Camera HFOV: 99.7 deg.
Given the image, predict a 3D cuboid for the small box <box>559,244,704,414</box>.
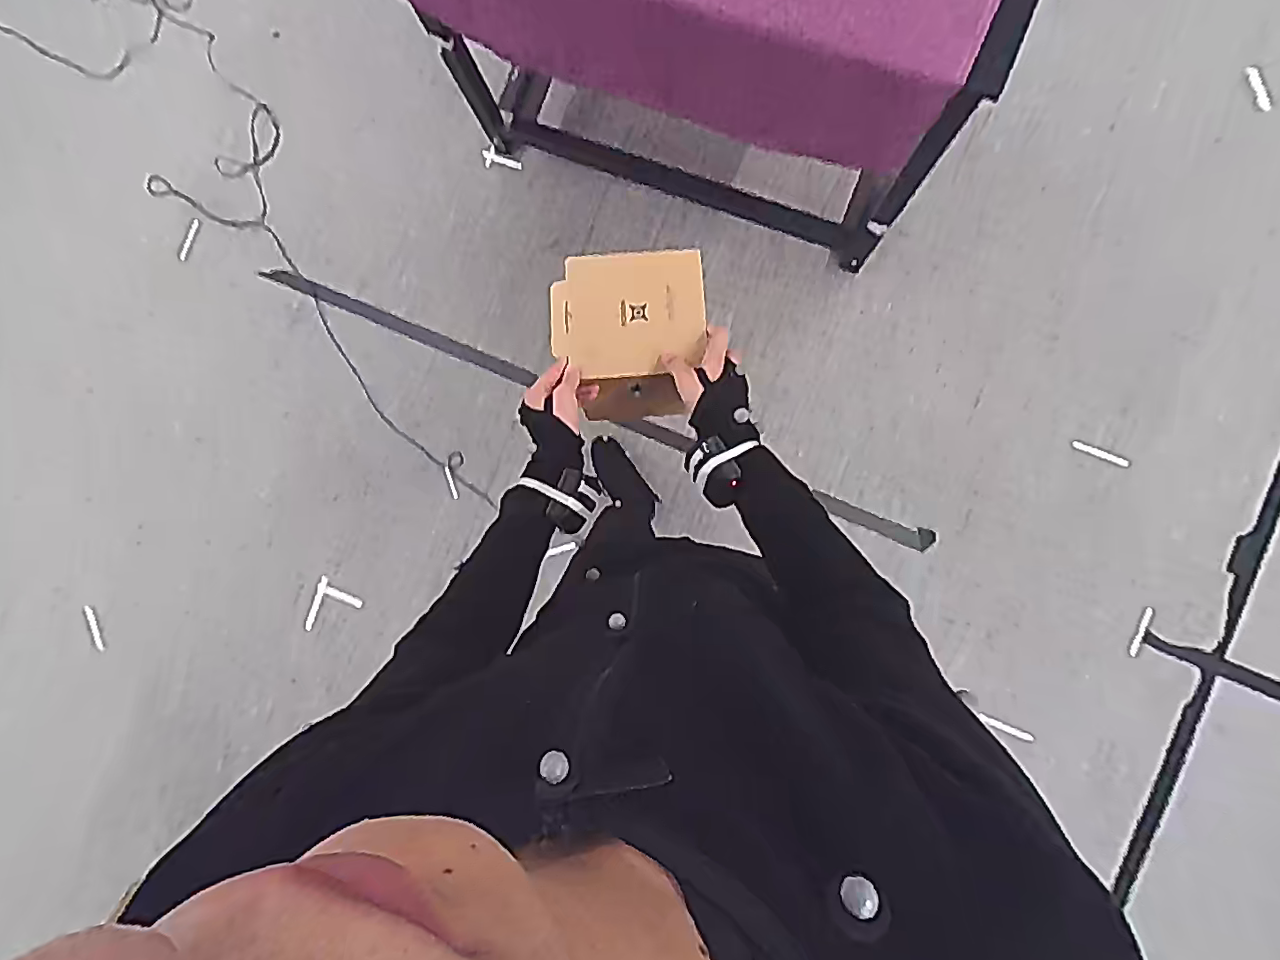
[{"bbox_3d":[-0.009,-0.196,0.744,0.179,0.176,0.168,-3,78,1],"label":"small box"}]
